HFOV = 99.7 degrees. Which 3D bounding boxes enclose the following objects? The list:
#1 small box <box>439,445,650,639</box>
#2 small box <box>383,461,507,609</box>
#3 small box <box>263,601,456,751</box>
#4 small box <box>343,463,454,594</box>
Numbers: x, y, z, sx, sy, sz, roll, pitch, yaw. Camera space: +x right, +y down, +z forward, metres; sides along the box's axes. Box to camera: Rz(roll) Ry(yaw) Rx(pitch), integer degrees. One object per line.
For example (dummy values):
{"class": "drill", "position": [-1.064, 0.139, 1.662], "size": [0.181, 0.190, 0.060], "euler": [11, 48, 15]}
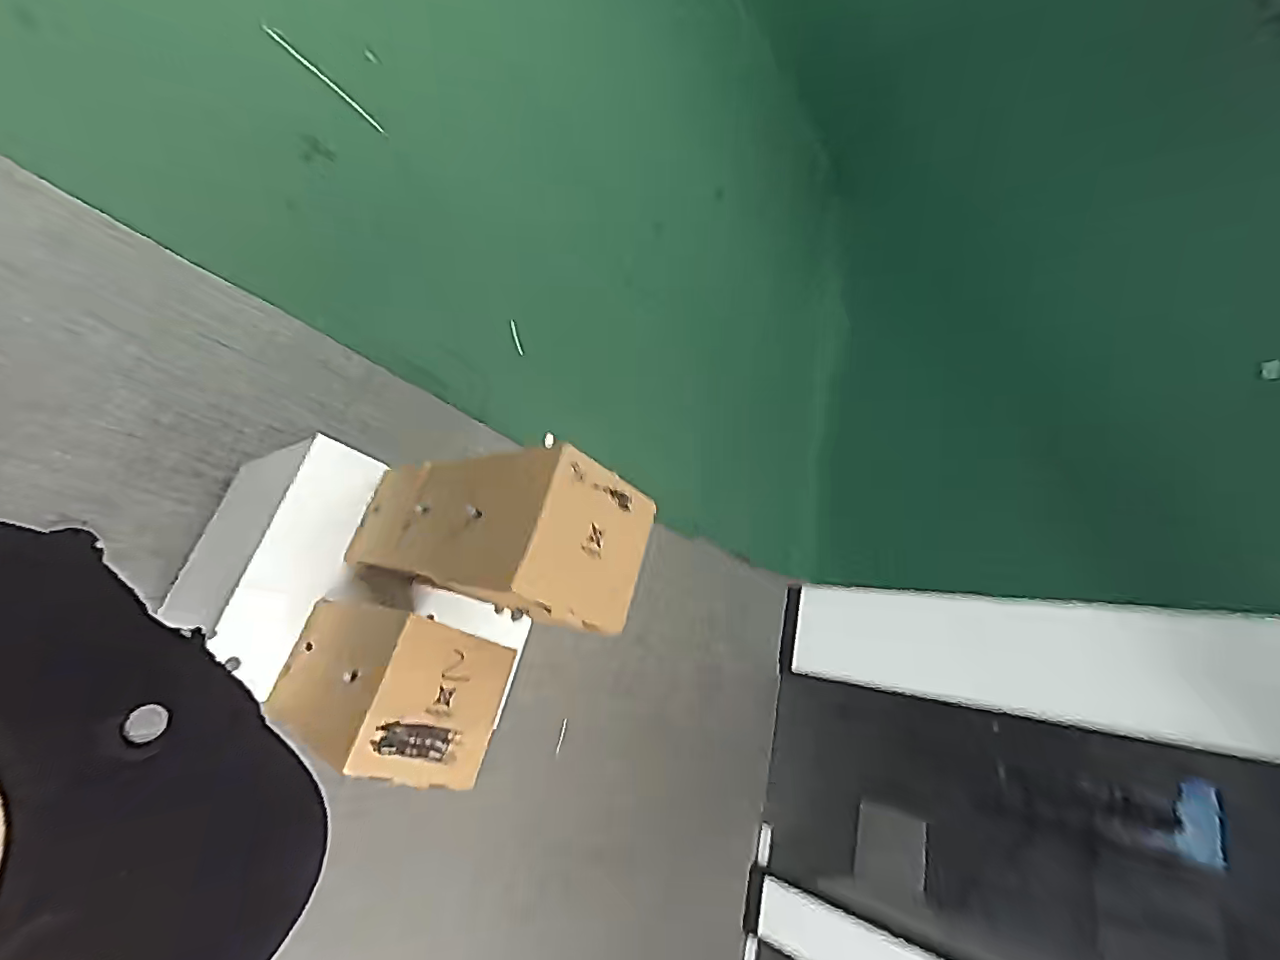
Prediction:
{"class": "small box", "position": [-0.121, 0.077, 0.673], "size": [0.168, 0.176, 0.179], "euler": [37, 63, -39]}
{"class": "small box", "position": [-0.234, 0.083, 0.792], "size": [0.179, 0.176, 0.168], "euler": [36, 62, -39]}
{"class": "small box", "position": [-0.421, 0.289, 0.817], "size": [0.179, 0.176, 0.168], "euler": [37, 60, -39]}
{"class": "small box", "position": [-0.354, 0.085, 0.904], "size": [0.179, 0.176, 0.168], "euler": [34, 64, -39]}
